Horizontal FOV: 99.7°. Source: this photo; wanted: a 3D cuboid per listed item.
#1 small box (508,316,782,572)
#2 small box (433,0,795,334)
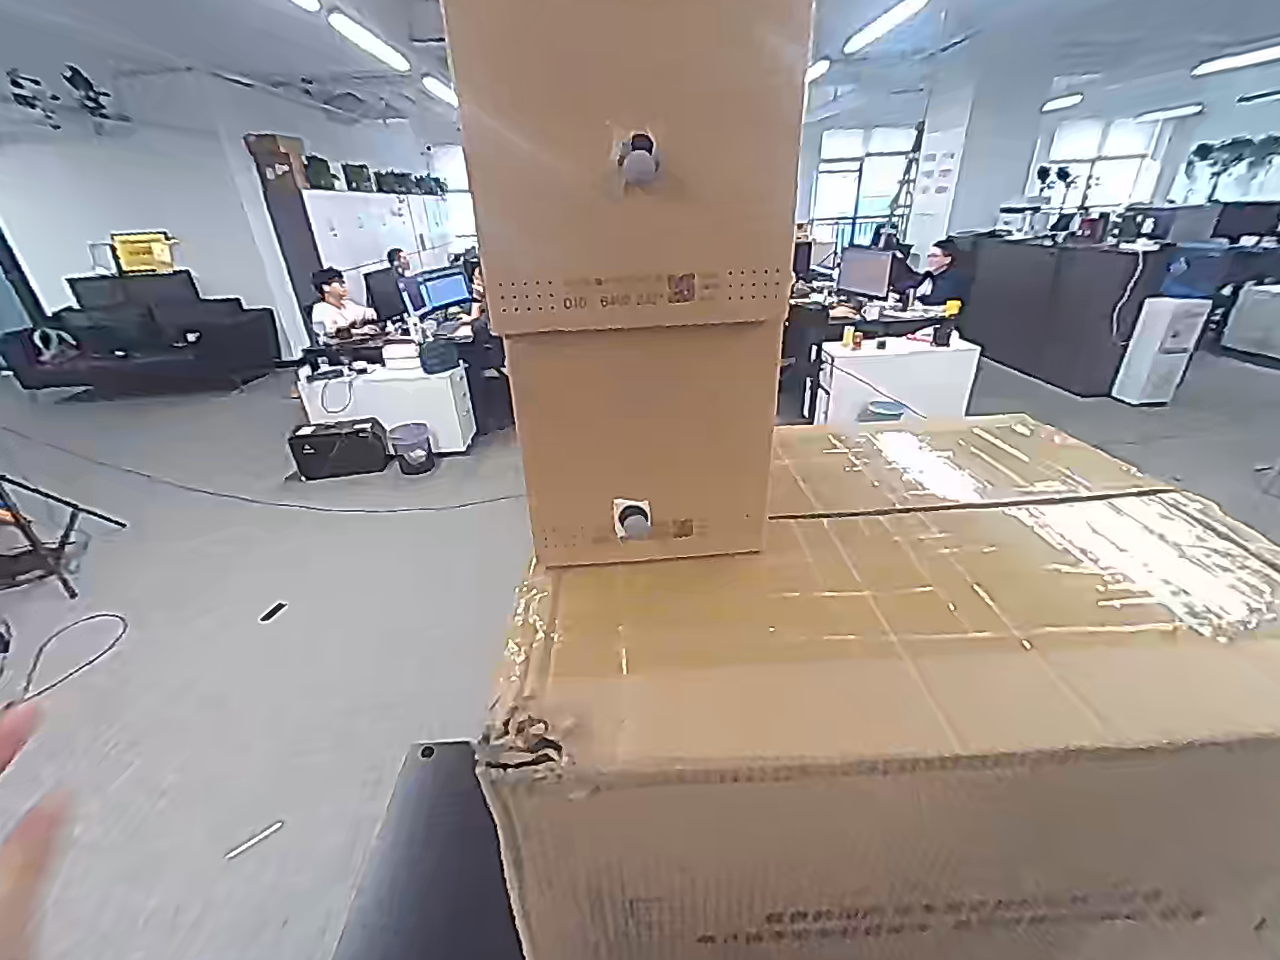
[{"bbox_3d":[-0.001,-0.049,0.425,0.168,0.176,0.179,-6,27,-4],"label":"small box"},{"bbox_3d":[-0.010,-0.189,0.339,0.168,0.176,0.179,-4,27,-3],"label":"small box"}]
